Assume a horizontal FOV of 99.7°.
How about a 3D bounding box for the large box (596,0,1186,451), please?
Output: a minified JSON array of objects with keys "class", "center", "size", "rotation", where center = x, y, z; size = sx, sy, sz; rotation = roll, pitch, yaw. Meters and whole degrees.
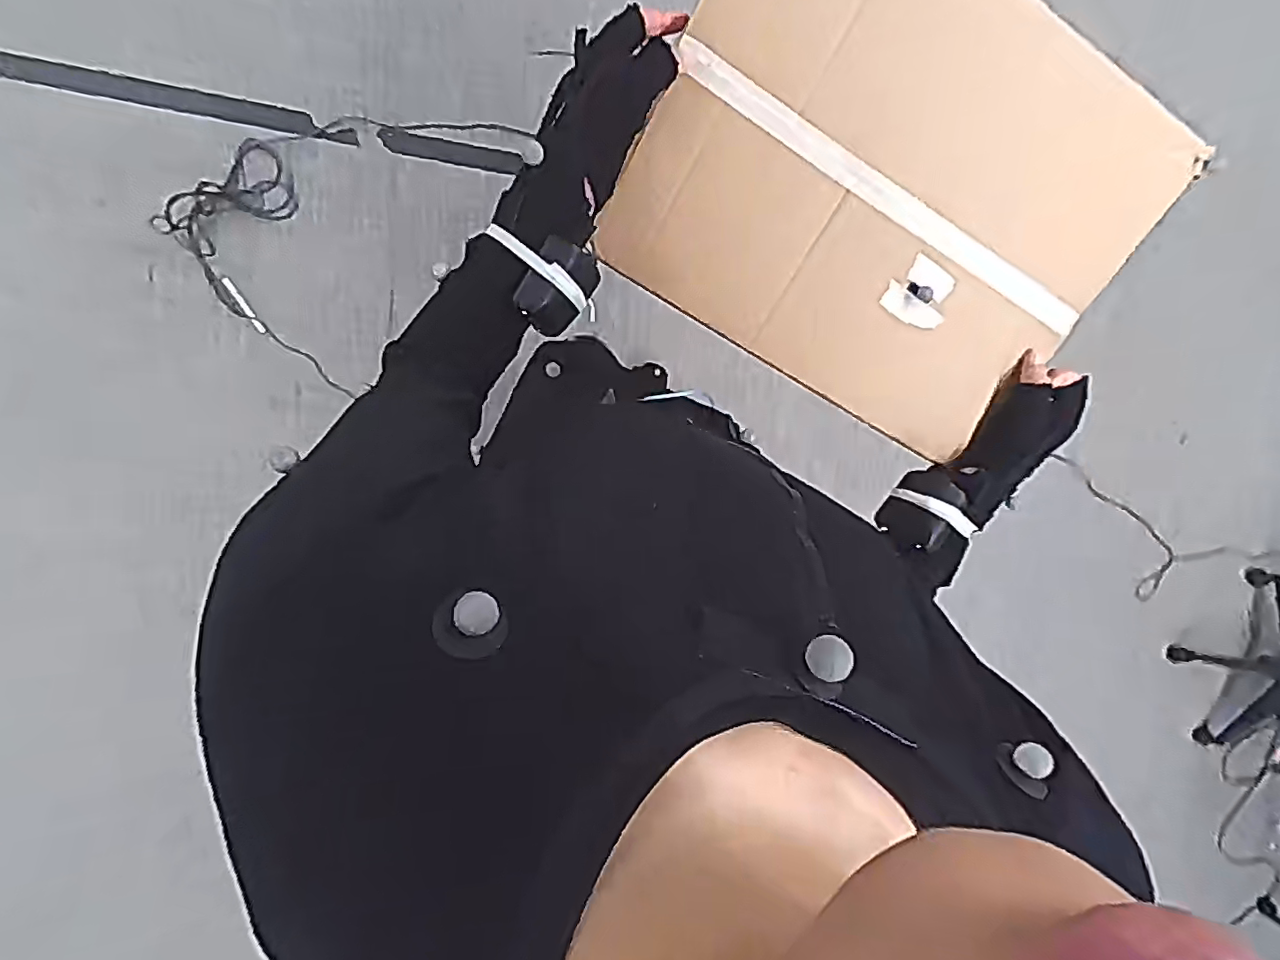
[{"class":"large box","center":[0.200,-0.292,0.589],"size":[0.408,0.320,0.320],"rotation":[28,110,-12]}]
